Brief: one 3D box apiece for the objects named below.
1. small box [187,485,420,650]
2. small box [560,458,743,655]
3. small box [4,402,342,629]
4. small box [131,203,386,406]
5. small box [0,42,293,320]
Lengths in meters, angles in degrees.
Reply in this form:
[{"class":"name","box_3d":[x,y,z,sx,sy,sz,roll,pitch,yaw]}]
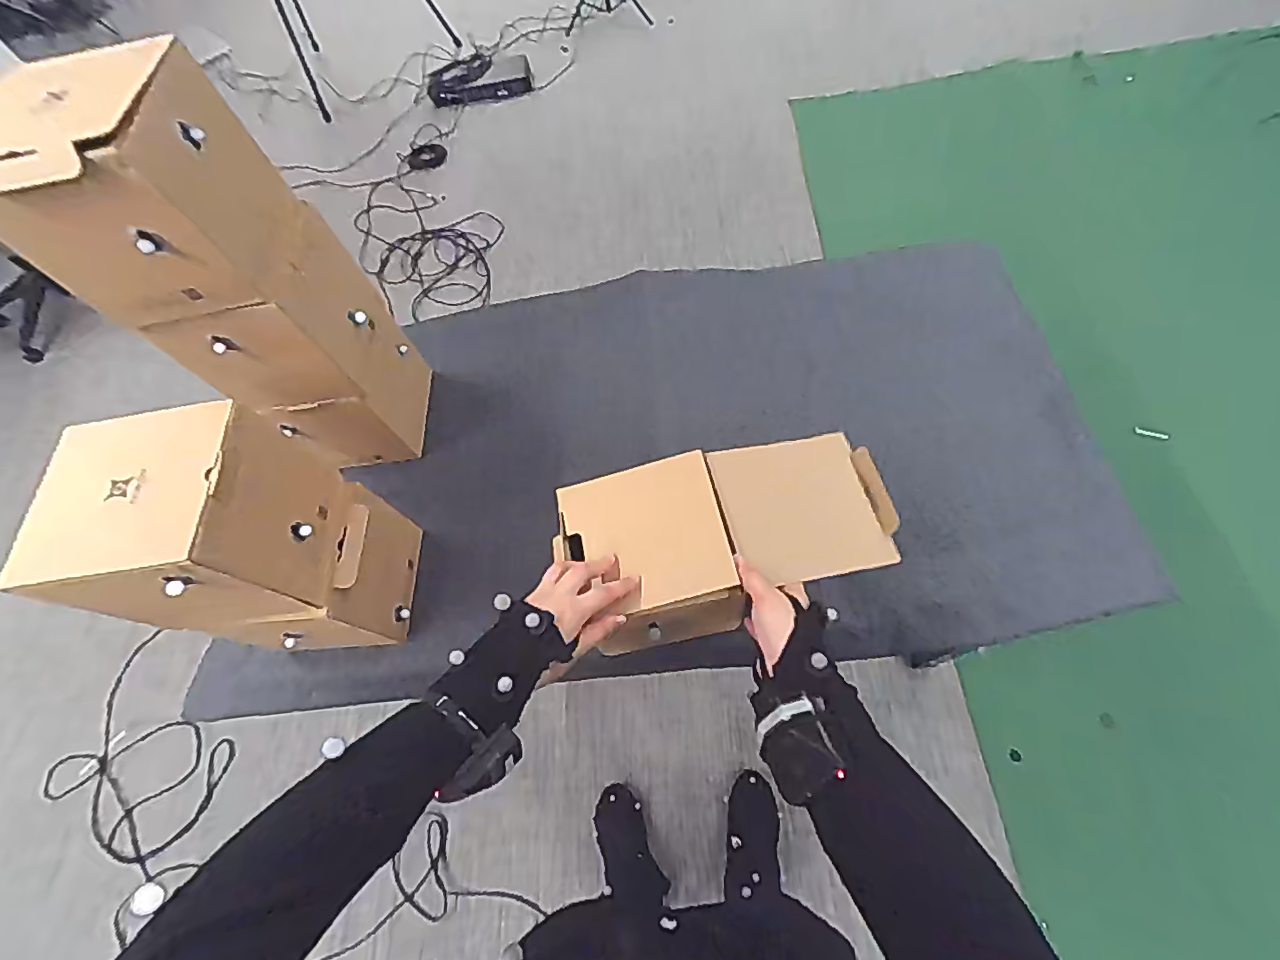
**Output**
[{"class":"small box","box_3d":[-0.409,0.119,0.694,0.179,0.176,0.168,-6,63,6]},{"class":"small box","box_3d":[0.018,0.100,0.644,0.179,0.176,0.168,-13,62,2]},{"class":"small box","box_3d":[-0.445,0.047,0.553,0.179,0.176,0.168,-9,63,3]},{"class":"small box","box_3d":[-0.455,-0.208,0.678,0.179,0.176,0.168,-6,64,5]},{"class":"small box","box_3d":[-0.483,-0.278,0.534,0.168,0.176,0.179,-9,62,2]}]
